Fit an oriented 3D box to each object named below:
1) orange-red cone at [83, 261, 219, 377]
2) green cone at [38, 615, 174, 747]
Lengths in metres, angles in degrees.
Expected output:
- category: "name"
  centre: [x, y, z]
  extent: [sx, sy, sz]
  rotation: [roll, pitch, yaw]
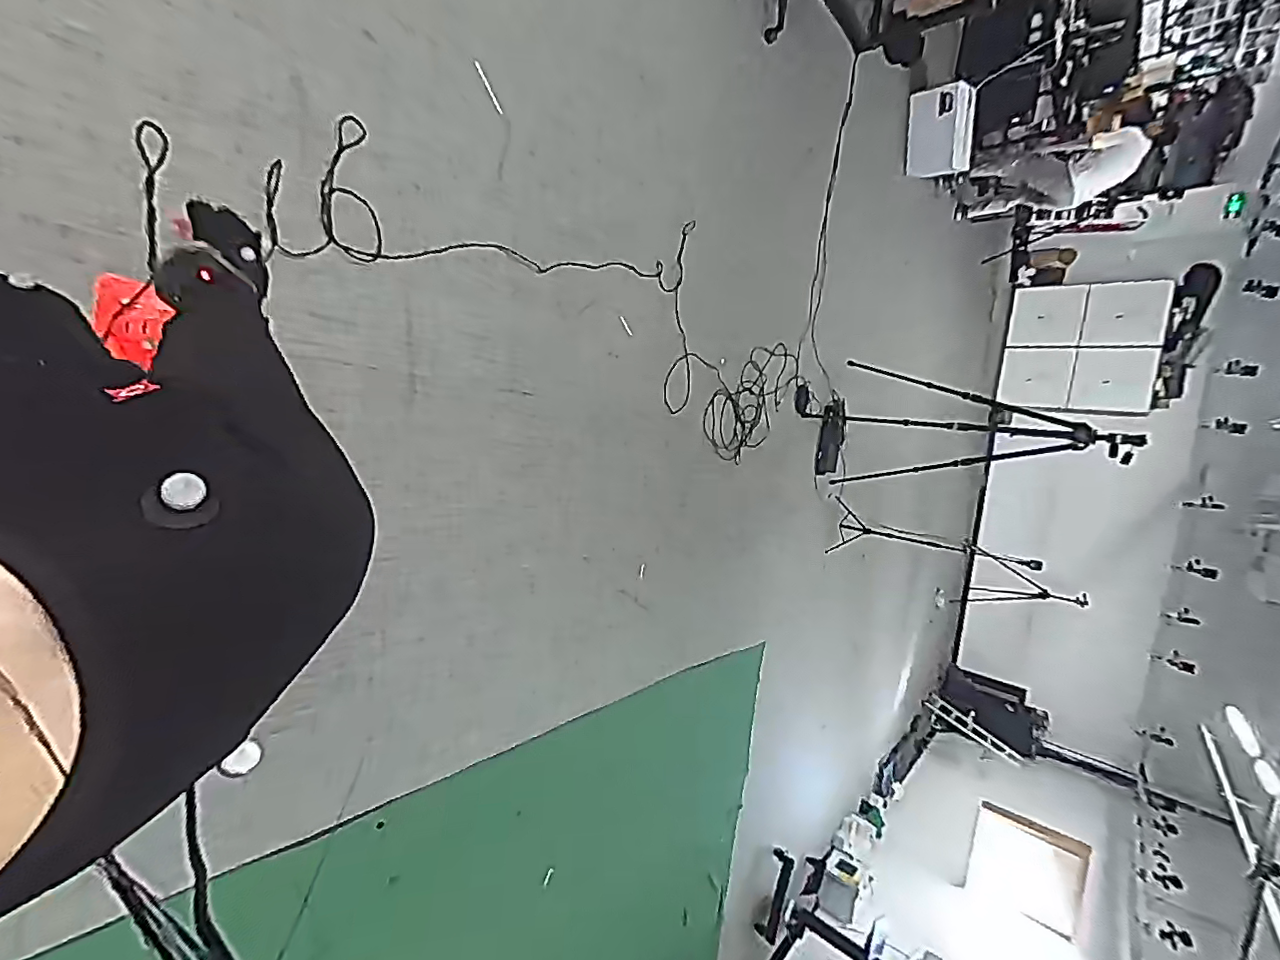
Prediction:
- category: "orange-red cone"
  centre: [-0.887, -0.298, 1.017]
  extent: [0.198, 0.360, 0.199]
  rotation: [8, 94, -49]
- category: "green cone"
  centre: [-1.008, 0.422, 1.050]
  extent: [0.200, 0.368, 0.202]
  rotation: [4, 95, -50]
